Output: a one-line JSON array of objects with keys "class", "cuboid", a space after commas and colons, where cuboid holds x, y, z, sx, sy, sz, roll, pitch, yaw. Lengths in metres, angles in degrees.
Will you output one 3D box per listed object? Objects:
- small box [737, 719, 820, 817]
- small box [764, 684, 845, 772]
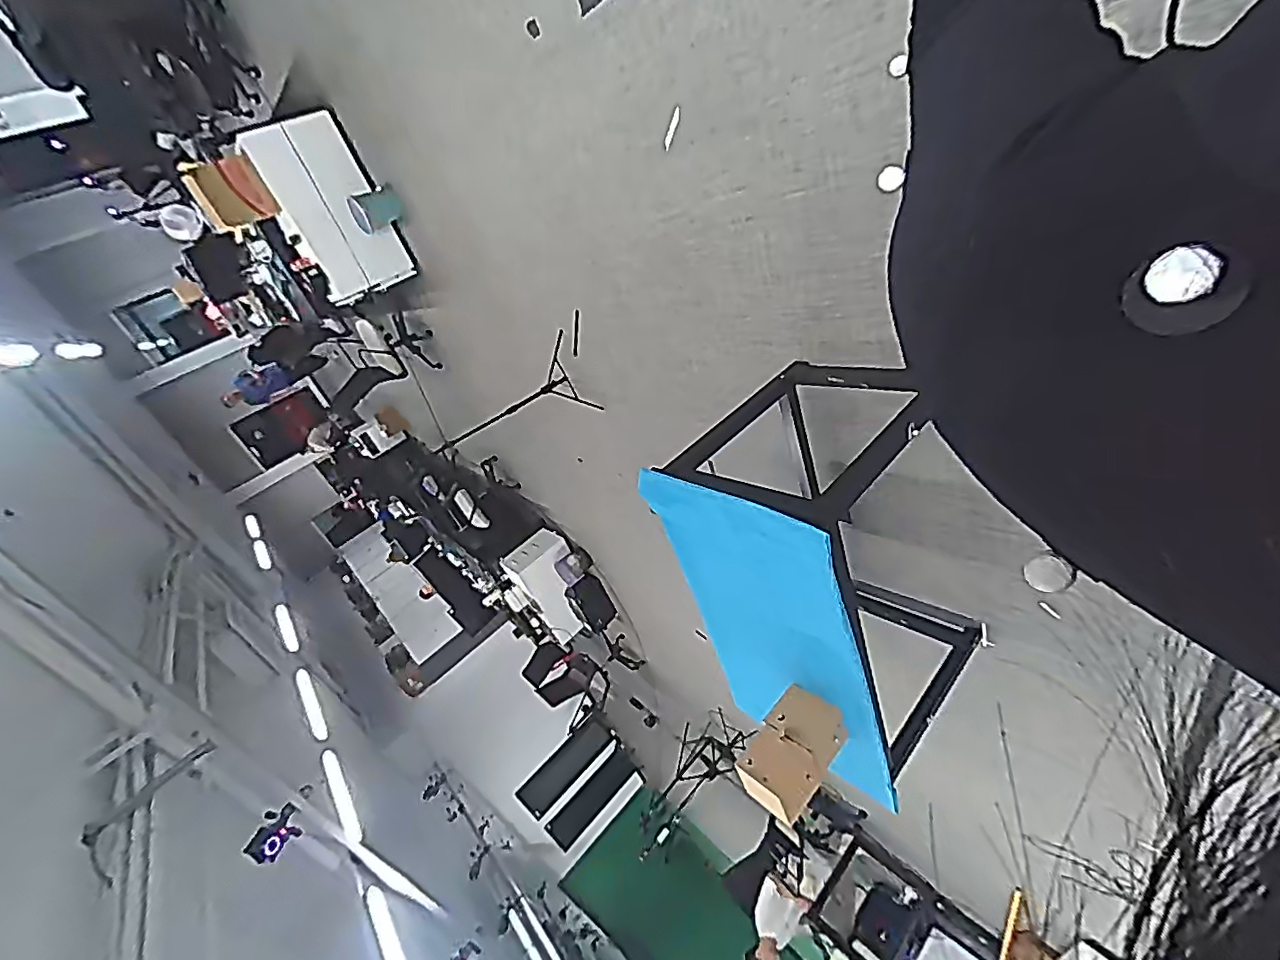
[{"class": "small box", "cuboid": [0.423, 0.886, 1.659, 0.168, 0.176, 0.179, 18, 138, 49]}, {"class": "small box", "cuboid": [0.534, 0.792, 1.743, 0.179, 0.176, 0.168, 17, 139, 47]}]
